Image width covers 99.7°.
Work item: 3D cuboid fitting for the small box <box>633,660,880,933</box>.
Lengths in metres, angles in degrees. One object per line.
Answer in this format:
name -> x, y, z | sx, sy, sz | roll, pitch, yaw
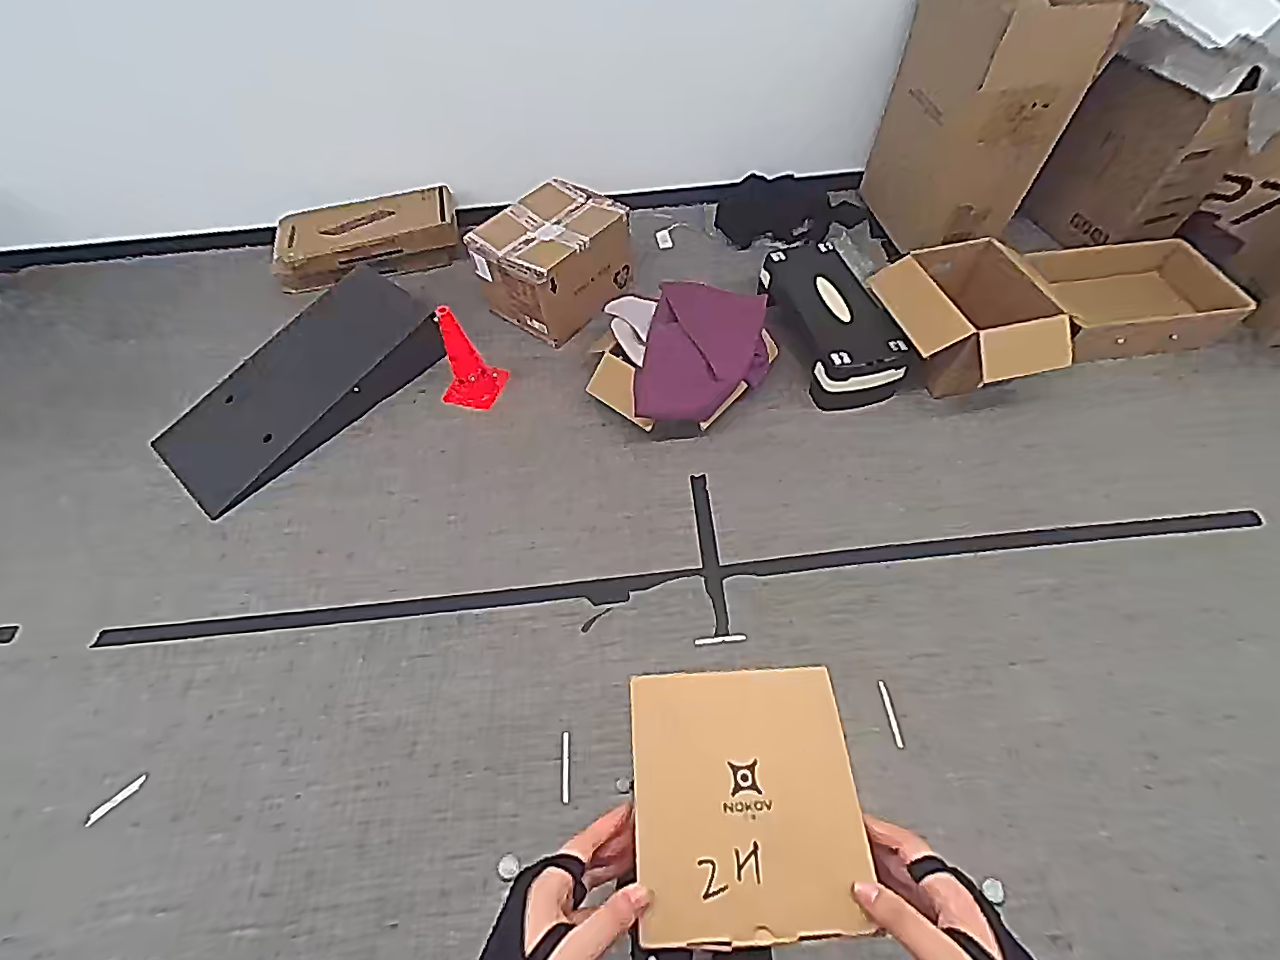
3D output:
small box -> 0.078, 0.271, 0.473 | 0.168, 0.176, 0.179 | -3, 57, 0
